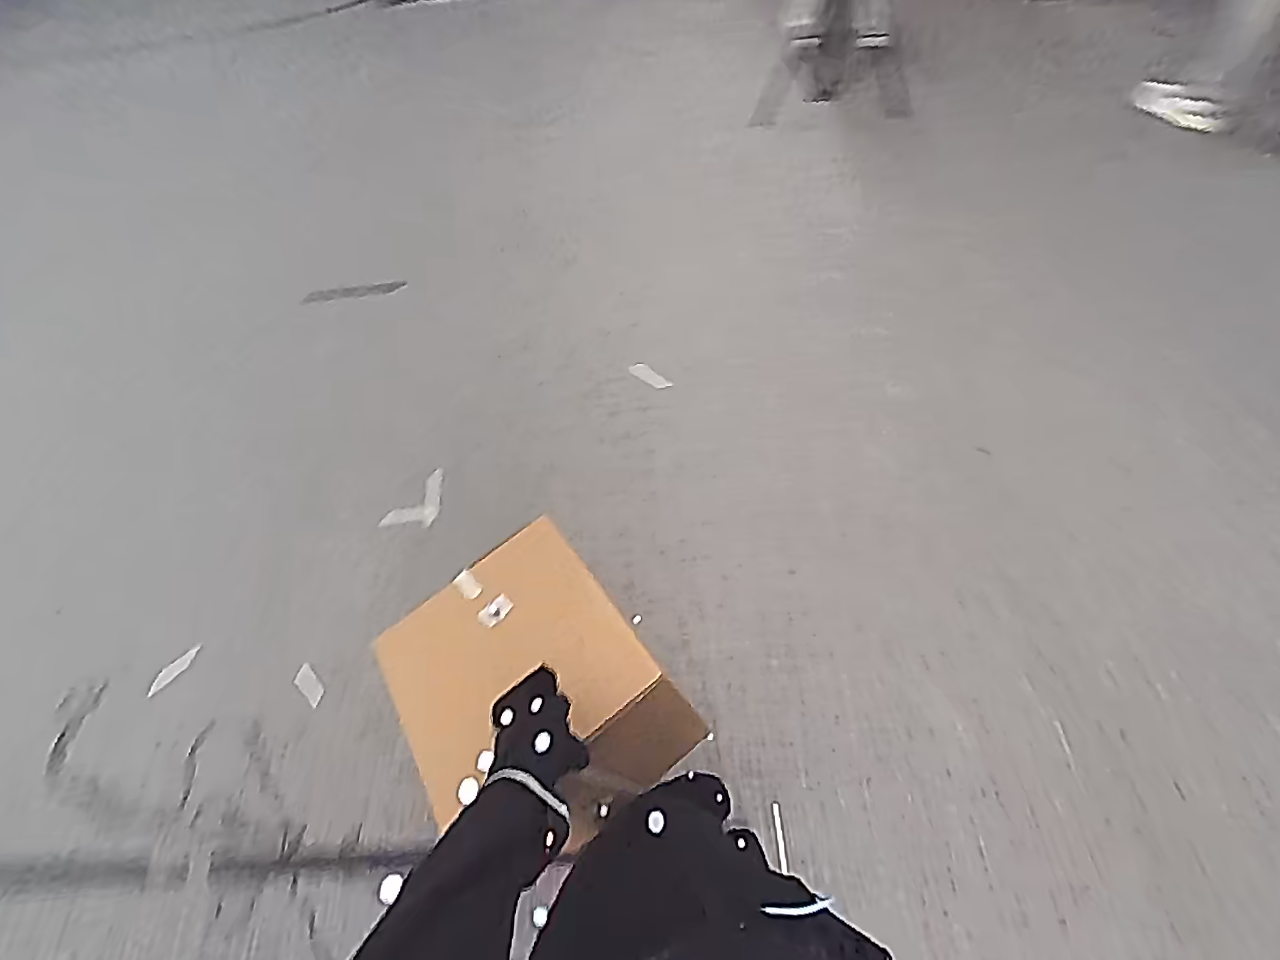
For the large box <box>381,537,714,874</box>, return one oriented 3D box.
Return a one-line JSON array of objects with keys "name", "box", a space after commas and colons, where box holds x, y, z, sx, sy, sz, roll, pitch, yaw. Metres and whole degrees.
[{"name": "large box", "box": [-0.123, 0.358, 0.870, 0.320, 0.408, 0.320, -38, 56, -8]}]
